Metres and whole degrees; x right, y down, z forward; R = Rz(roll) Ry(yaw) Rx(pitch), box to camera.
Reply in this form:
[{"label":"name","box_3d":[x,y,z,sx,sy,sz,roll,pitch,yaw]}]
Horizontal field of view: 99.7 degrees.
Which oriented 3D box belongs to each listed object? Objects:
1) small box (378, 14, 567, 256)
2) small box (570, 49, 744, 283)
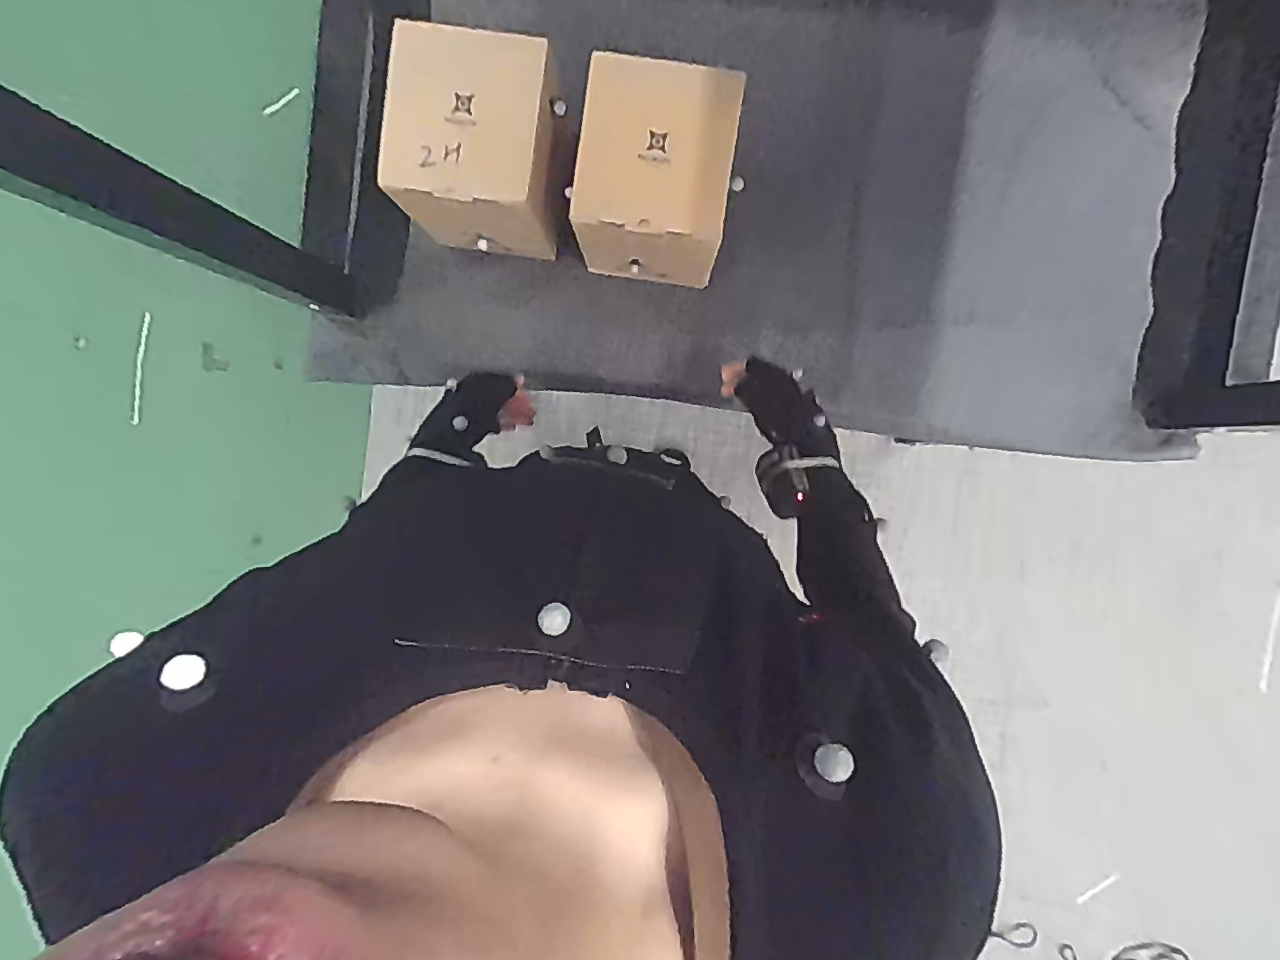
[{"label":"small box","box_3d":[-0.186,-0.397,0.652,0.168,0.176,0.179,8,94,0]},{"label":"small box","box_3d":[0.018,-0.361,0.653,0.168,0.176,0.179,8,94,0]}]
